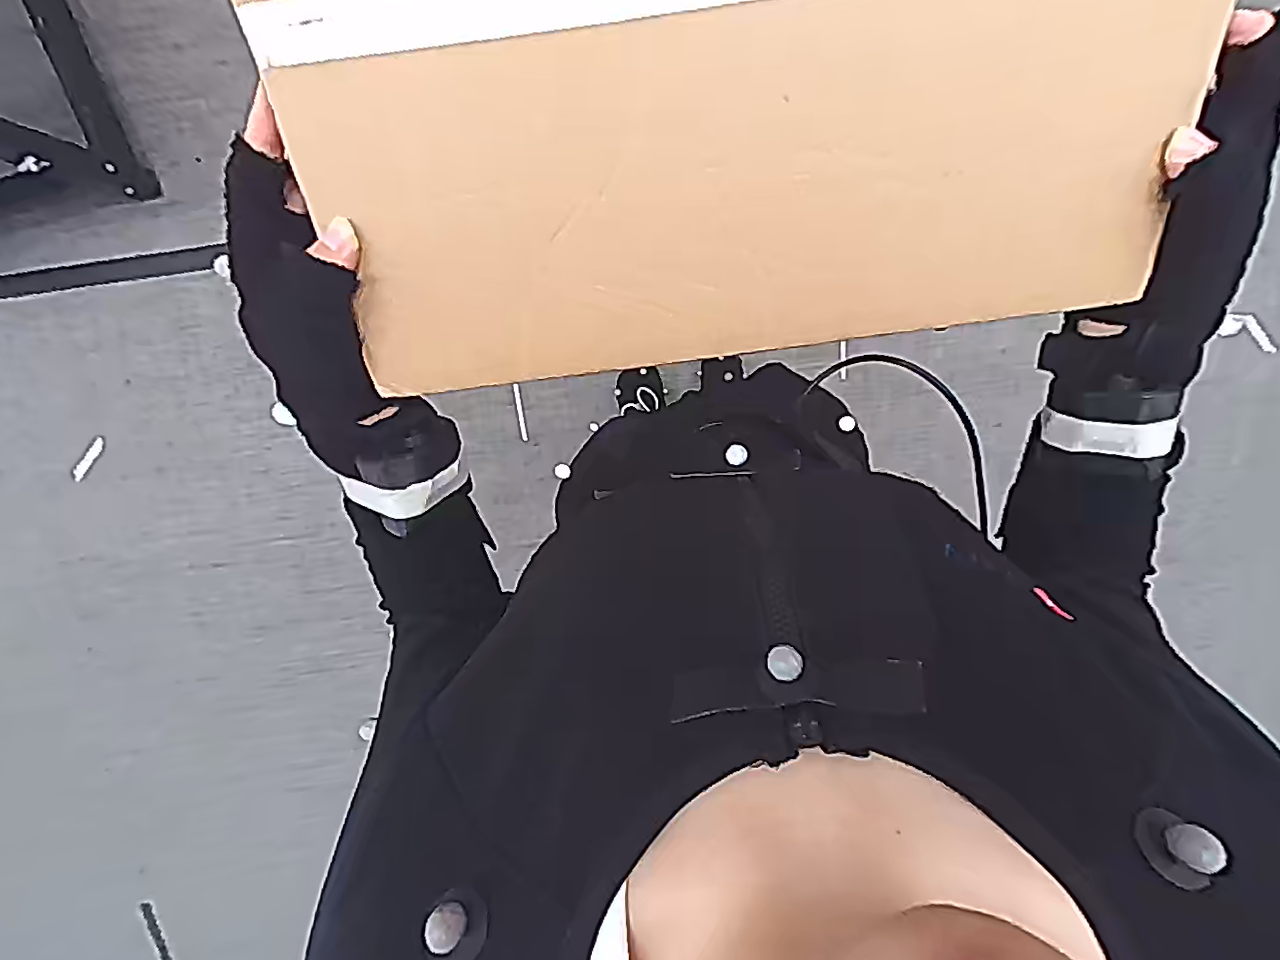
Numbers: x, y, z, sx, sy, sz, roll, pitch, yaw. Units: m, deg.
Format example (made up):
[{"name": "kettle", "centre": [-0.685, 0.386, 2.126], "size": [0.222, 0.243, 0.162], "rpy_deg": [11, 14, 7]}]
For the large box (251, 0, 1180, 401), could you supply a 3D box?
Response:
[{"name": "large box", "centre": [0.033, -0.275, 0.360], "size": [0.408, 0.320, 0.320], "rpy_deg": [-7, 117, 1]}]
